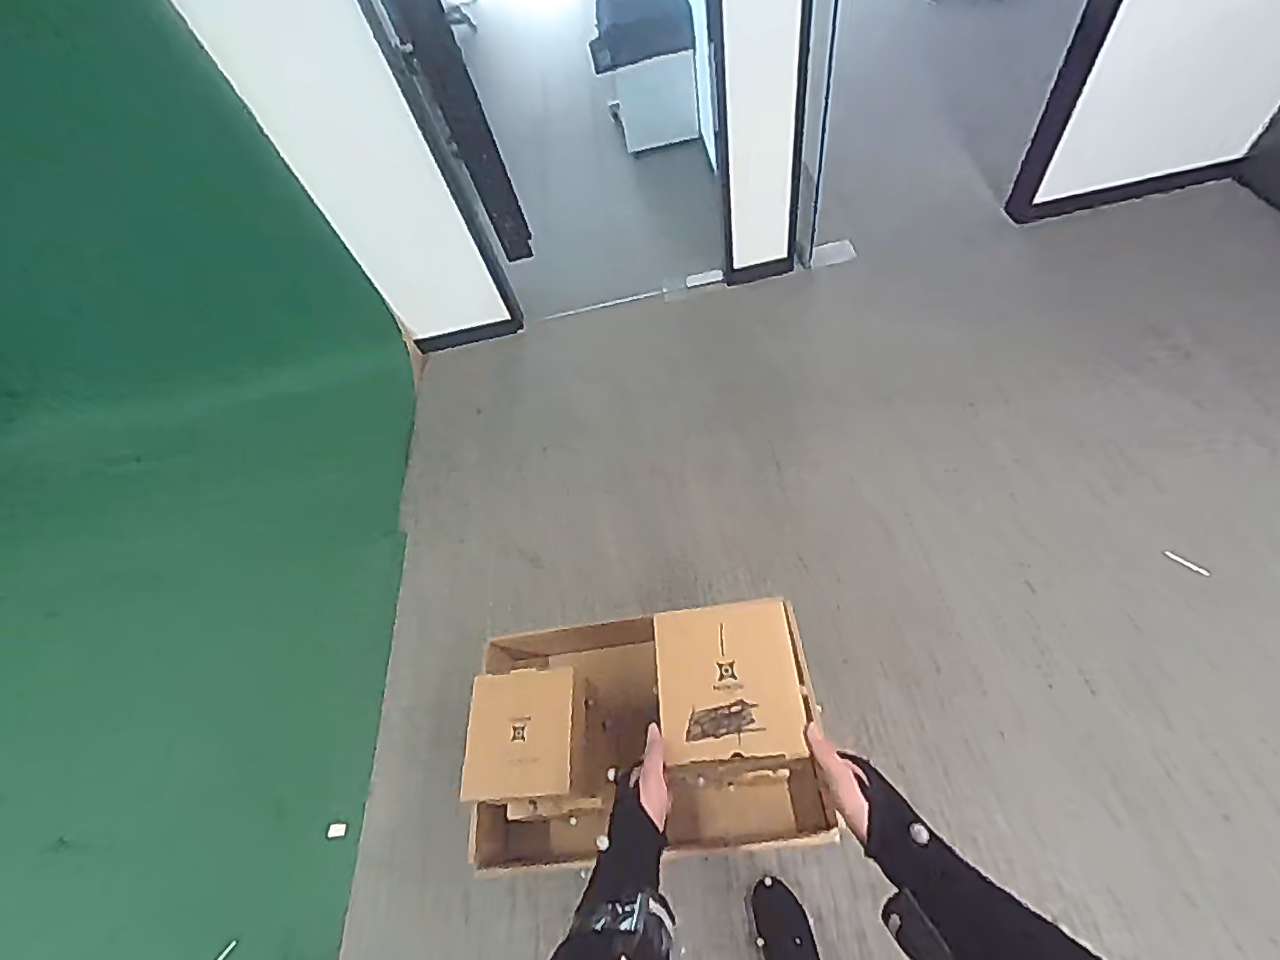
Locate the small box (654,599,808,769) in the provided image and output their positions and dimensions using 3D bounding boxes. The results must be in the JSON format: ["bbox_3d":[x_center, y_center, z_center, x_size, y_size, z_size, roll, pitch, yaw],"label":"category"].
[{"bbox_3d":[0.113,0.272,0.704,0.168,0.176,0.179,-6,56,5],"label":"small box"}]

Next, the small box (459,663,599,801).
[{"bbox_3d":[-0.166,0.409,0.872,0.168,0.176,0.179,-8,56,8],"label":"small box"}]
